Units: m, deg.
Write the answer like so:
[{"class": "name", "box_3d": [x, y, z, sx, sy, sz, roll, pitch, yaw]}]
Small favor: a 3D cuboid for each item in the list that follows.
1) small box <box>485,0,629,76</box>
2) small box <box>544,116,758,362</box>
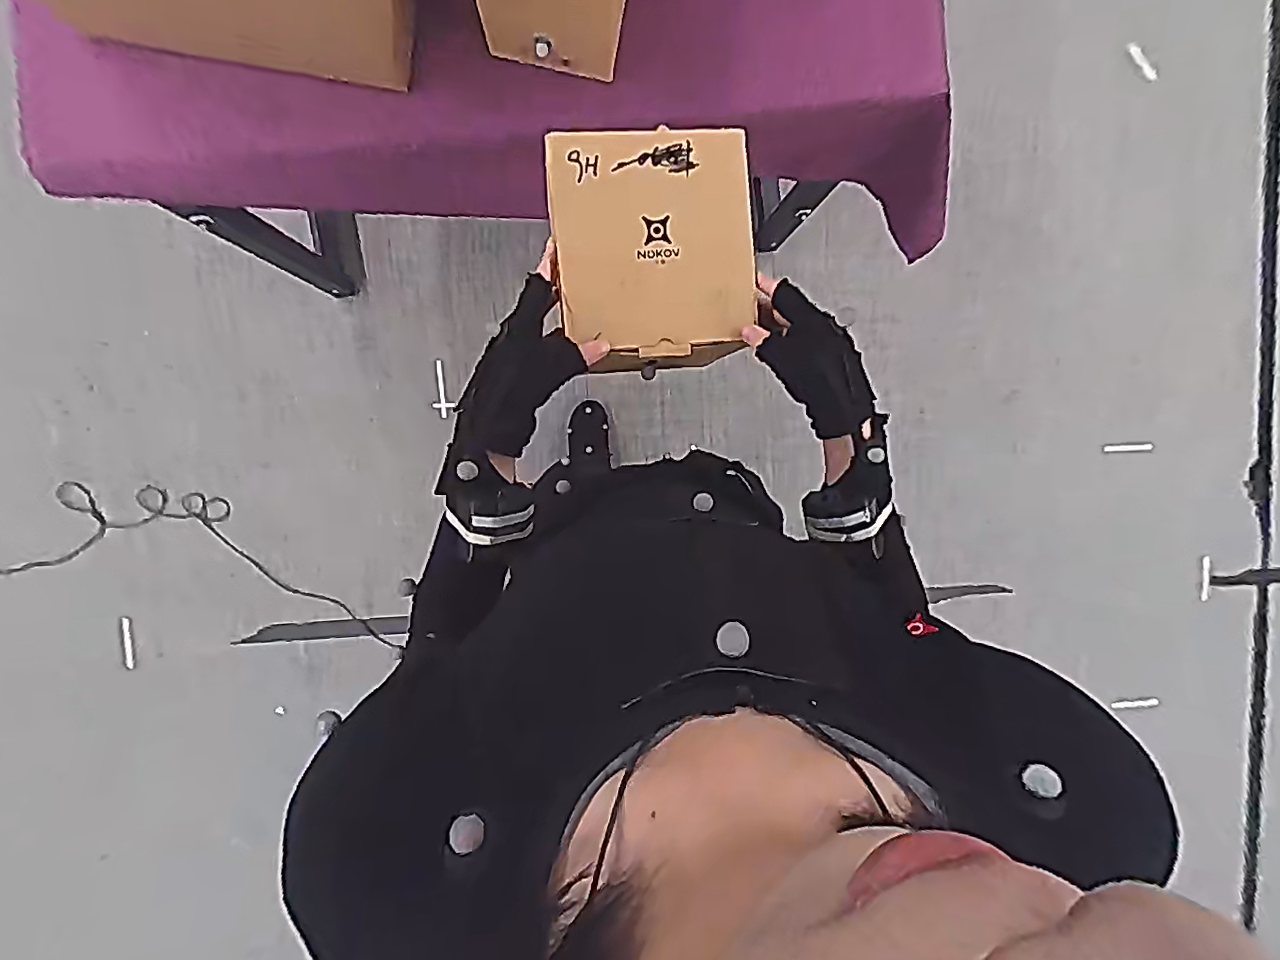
[{"class": "small box", "box_3d": [-0.094, -0.632, 0.632, 0.168, 0.176, 0.179, 10, 94, -5]}, {"class": "small box", "box_3d": [0.003, -0.208, 0.513, 0.168, 0.176, 0.179, -6, 97, -8]}]
